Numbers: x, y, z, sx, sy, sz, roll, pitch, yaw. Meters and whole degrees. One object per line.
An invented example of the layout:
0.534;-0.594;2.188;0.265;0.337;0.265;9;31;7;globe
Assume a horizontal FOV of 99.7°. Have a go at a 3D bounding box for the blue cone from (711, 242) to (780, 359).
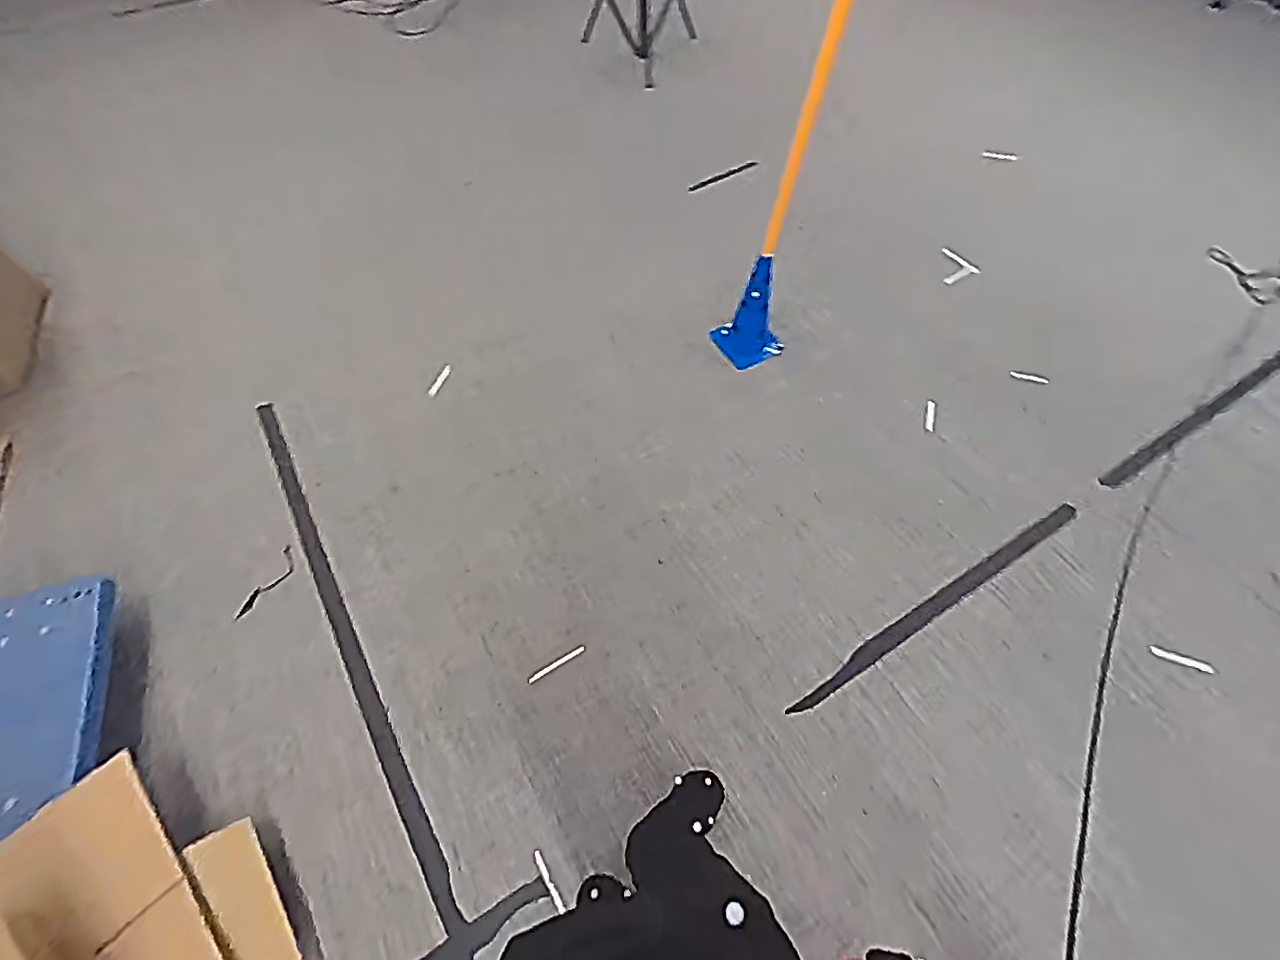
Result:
0.359;-0.582;1.722;0.192;0.380;0.193;-26;64;-14;blue cone
